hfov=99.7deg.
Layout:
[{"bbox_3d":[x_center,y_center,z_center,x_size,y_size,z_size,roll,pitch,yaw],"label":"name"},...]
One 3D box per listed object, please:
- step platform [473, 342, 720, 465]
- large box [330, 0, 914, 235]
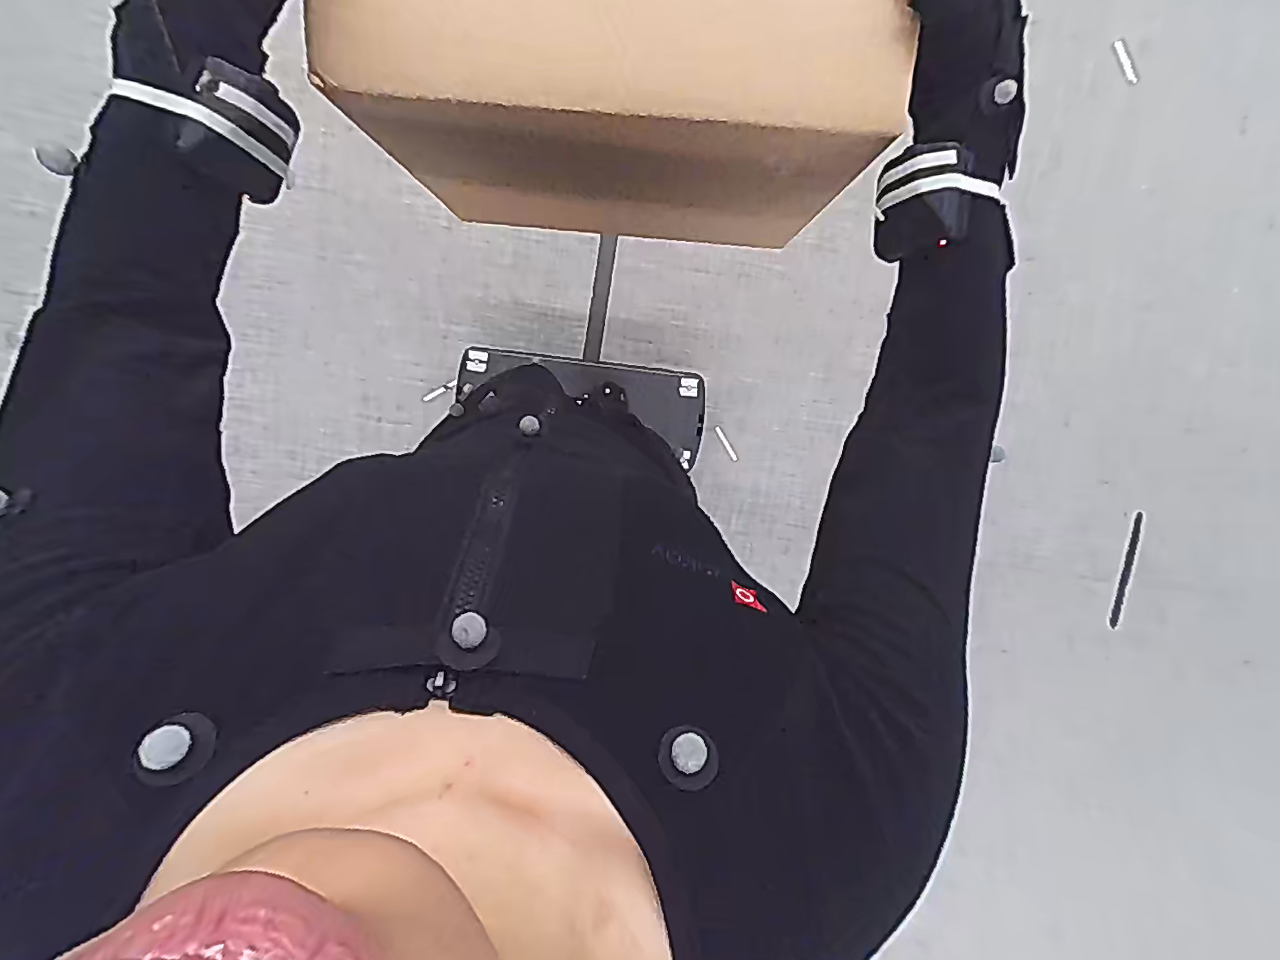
[{"bbox_3d":[-0.119,-0.214,1.540,0.684,0.204,0.286,5,98,-4],"label":"step platform"},{"bbox_3d":[-0.009,-0.437,0.498,0.408,0.320,0.320,4,101,-1],"label":"large box"}]
